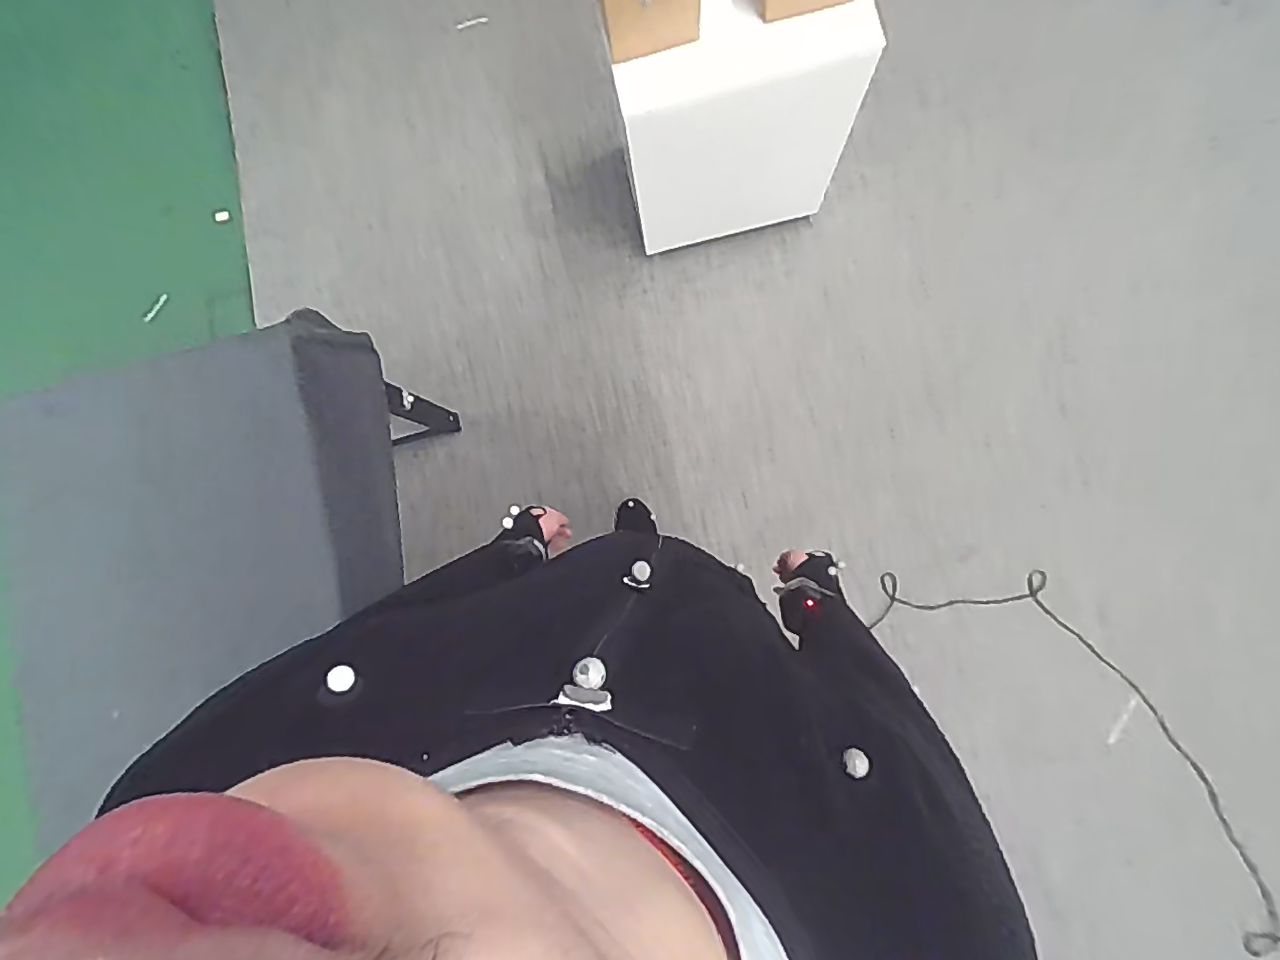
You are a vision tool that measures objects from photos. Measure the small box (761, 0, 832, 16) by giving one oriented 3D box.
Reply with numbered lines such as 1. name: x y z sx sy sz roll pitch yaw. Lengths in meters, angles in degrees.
1. small box: 0.301 -0.973 0.942 0.179 0.176 0.168 -10 84 6

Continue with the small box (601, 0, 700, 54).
1. small box: 0.009 -0.916 0.965 0.179 0.176 0.168 -14 85 3
